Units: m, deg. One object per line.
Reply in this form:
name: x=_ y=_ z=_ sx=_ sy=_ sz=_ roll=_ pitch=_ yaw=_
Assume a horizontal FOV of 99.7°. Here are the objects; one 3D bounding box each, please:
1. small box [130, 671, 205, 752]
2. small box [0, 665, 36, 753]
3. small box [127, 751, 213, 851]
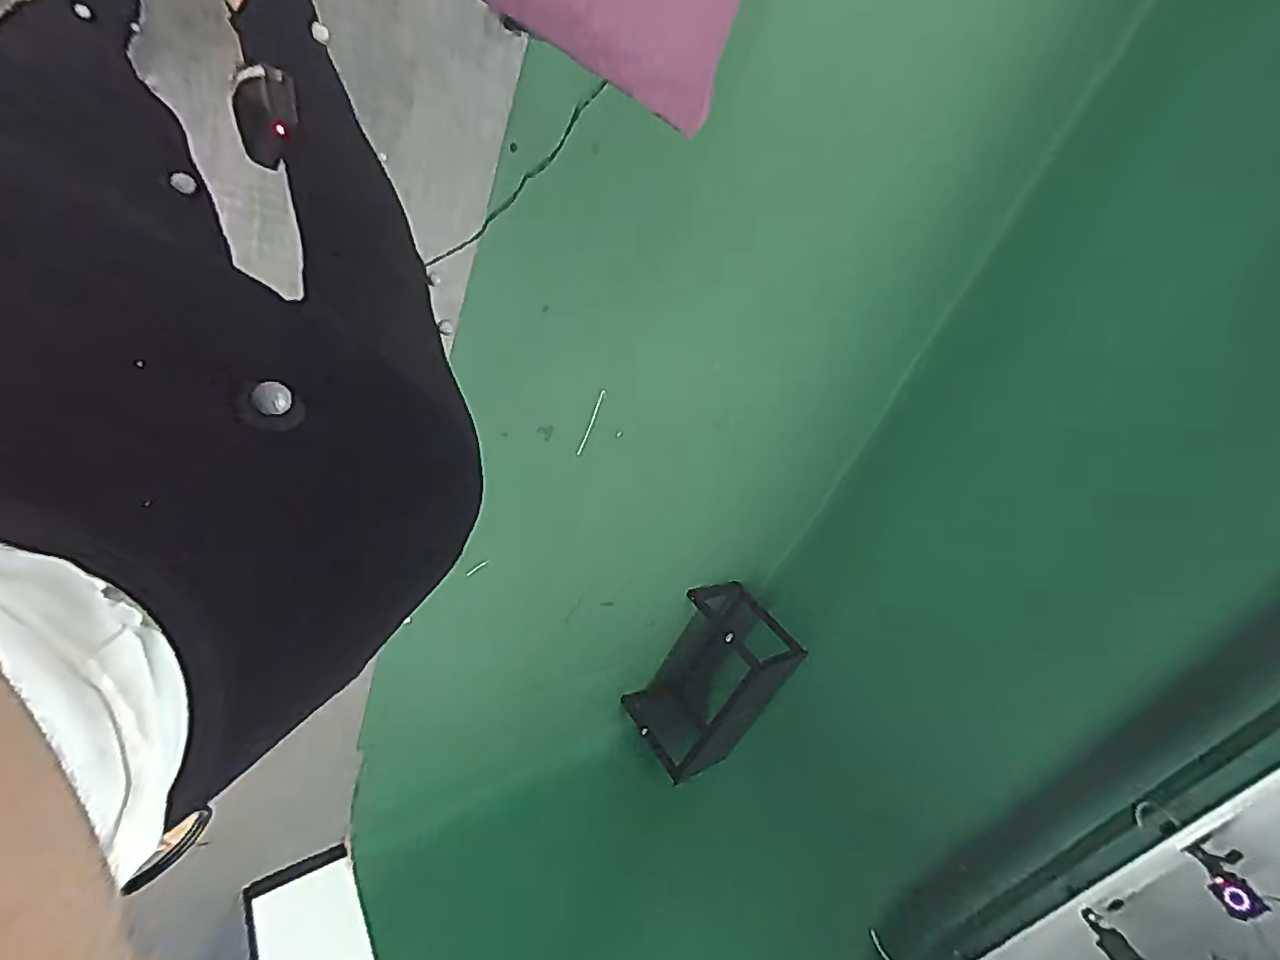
small box: x=-1.588 y=0.769 z=1.817 sx=0.179 sy=0.176 sz=0.168 roll=4 pitch=123 yaw=-44
small box: x=-1.806 y=0.638 z=1.488 sx=0.179 sy=0.176 sz=0.168 roll=4 pitch=123 yaw=-46
small box: x=-1.403 y=0.946 z=1.612 sx=0.179 sy=0.176 sz=0.168 roll=6 pitch=120 yaw=-46
